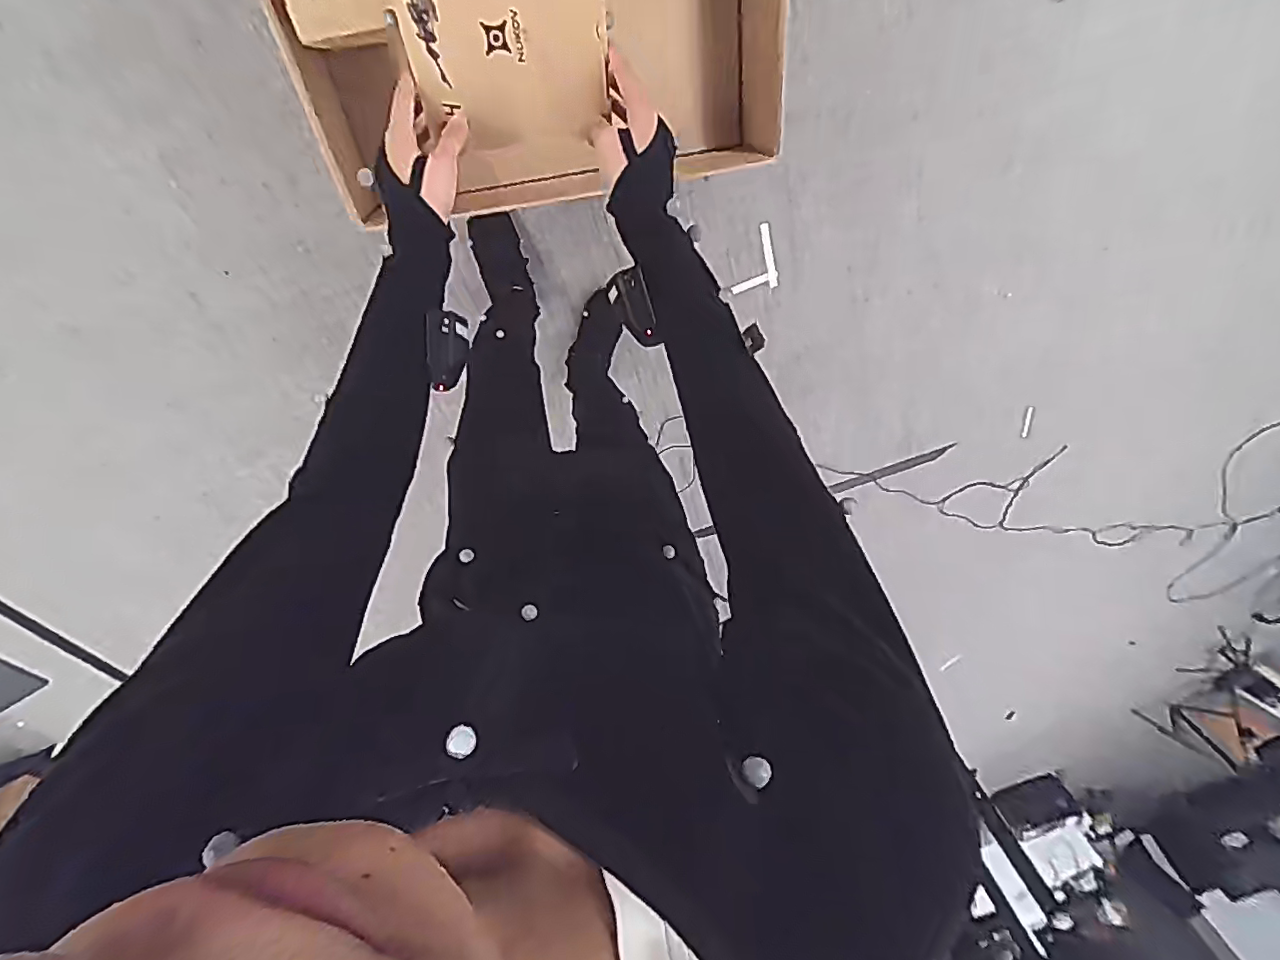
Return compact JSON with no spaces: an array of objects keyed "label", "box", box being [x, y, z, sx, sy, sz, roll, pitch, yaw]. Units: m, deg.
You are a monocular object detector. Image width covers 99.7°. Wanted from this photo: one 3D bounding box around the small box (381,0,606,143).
[{"label":"small box","box":[-0.135,-0.437,0.505,0.179,0.176,0.168,-9,136,-5]}]
